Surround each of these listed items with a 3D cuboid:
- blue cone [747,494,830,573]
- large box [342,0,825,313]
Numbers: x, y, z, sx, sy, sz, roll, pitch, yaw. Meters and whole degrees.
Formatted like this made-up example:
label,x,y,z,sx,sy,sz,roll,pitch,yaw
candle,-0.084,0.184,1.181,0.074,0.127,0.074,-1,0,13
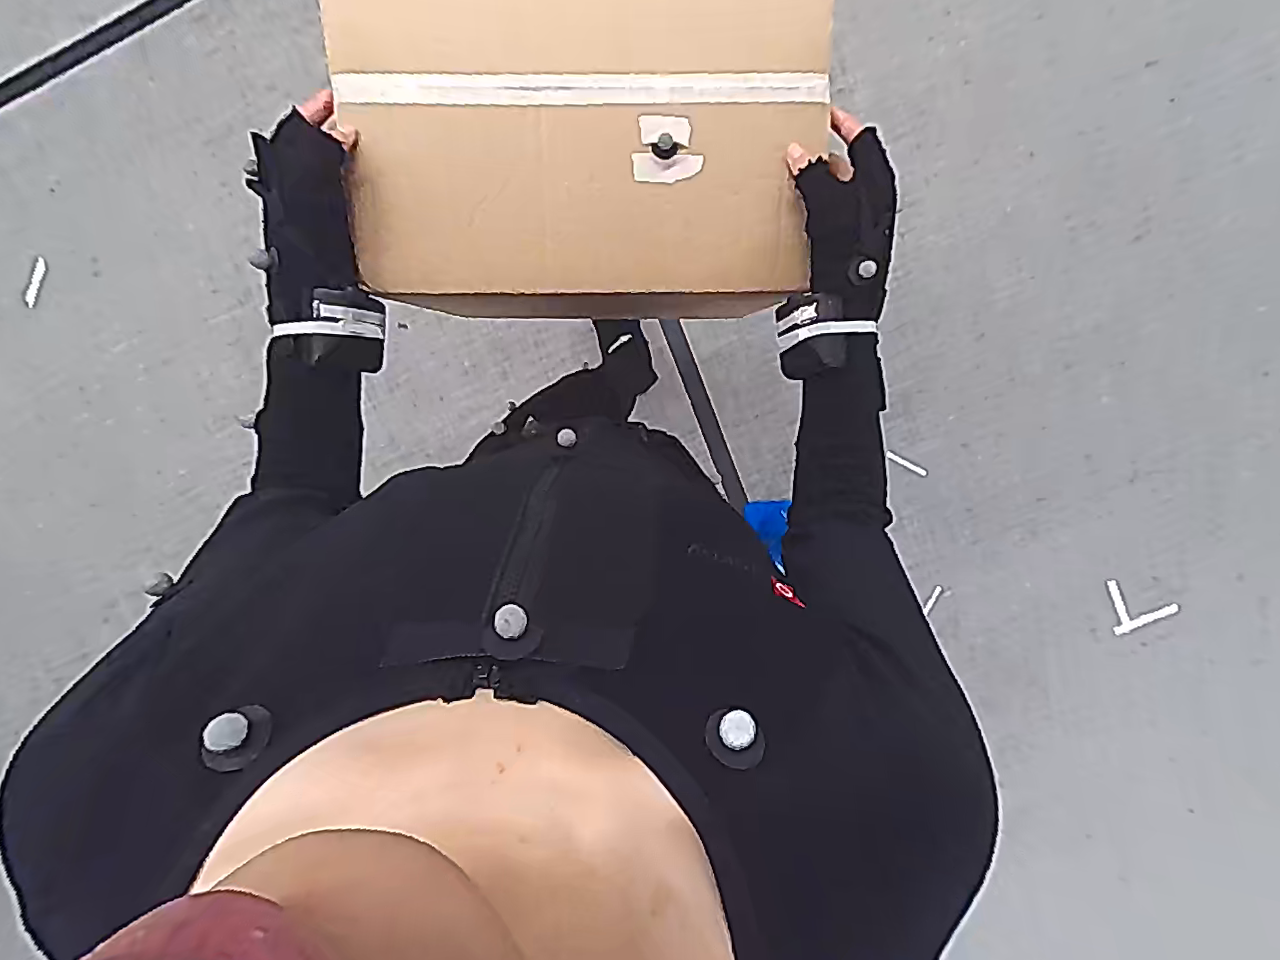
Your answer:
label,x,y,z,sx,sy,sz,roll,pitch,yaw
blue cone,0.385,0.159,1.307,0.193,0.380,0.192,-1,99,2
large box,-0.050,-0.365,0.602,0.408,0.320,0.320,-1,103,-2
